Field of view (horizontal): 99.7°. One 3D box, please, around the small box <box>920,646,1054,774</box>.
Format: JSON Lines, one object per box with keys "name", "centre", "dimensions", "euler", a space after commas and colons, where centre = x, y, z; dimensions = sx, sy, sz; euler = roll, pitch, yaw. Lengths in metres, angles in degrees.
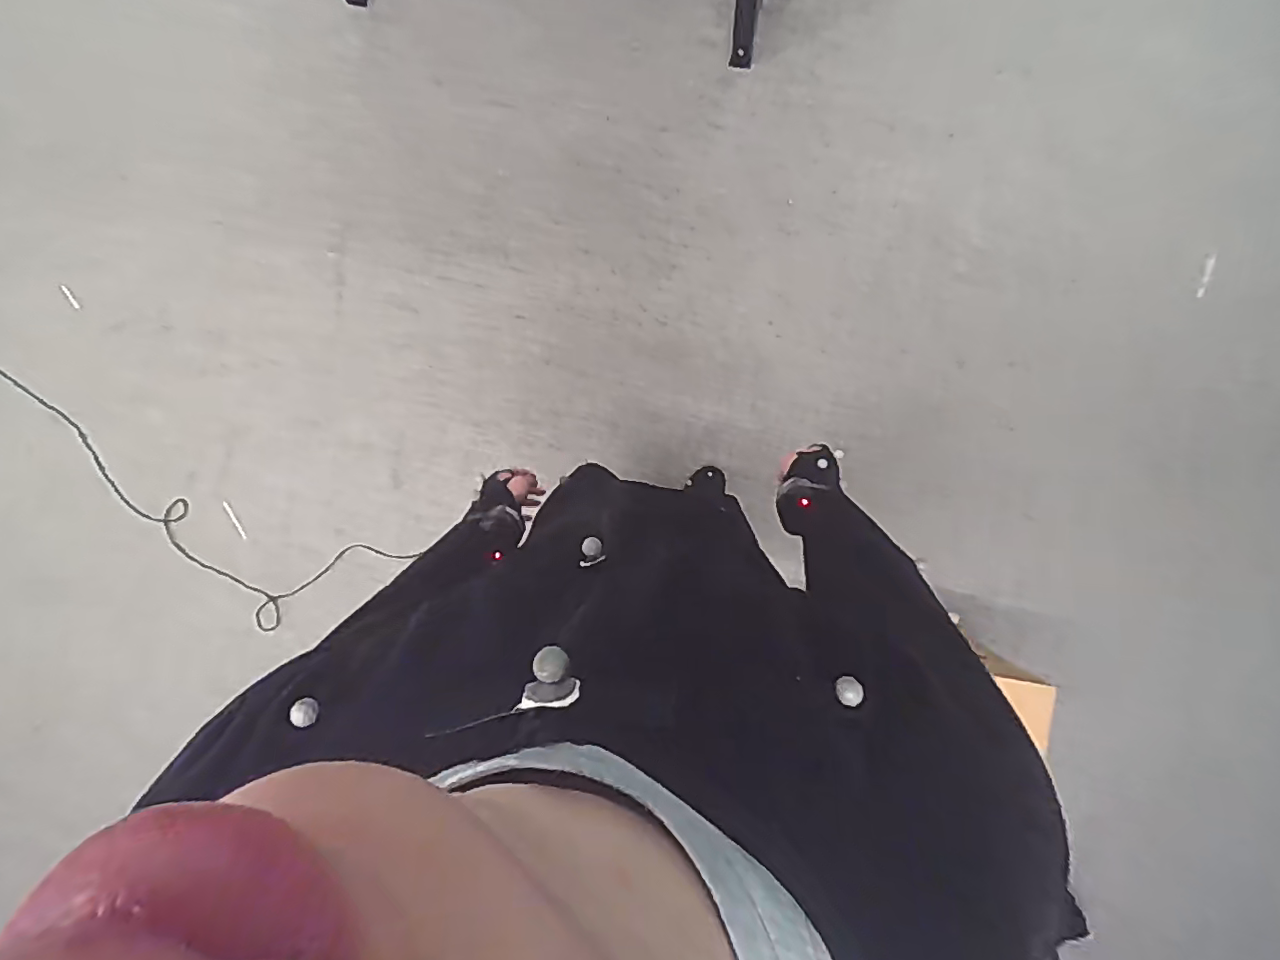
{"name": "small box", "centre": [0.701, 0.464, 1.114], "dimensions": [0.168, 0.176, 0.179], "euler": [9, 90, 5]}
